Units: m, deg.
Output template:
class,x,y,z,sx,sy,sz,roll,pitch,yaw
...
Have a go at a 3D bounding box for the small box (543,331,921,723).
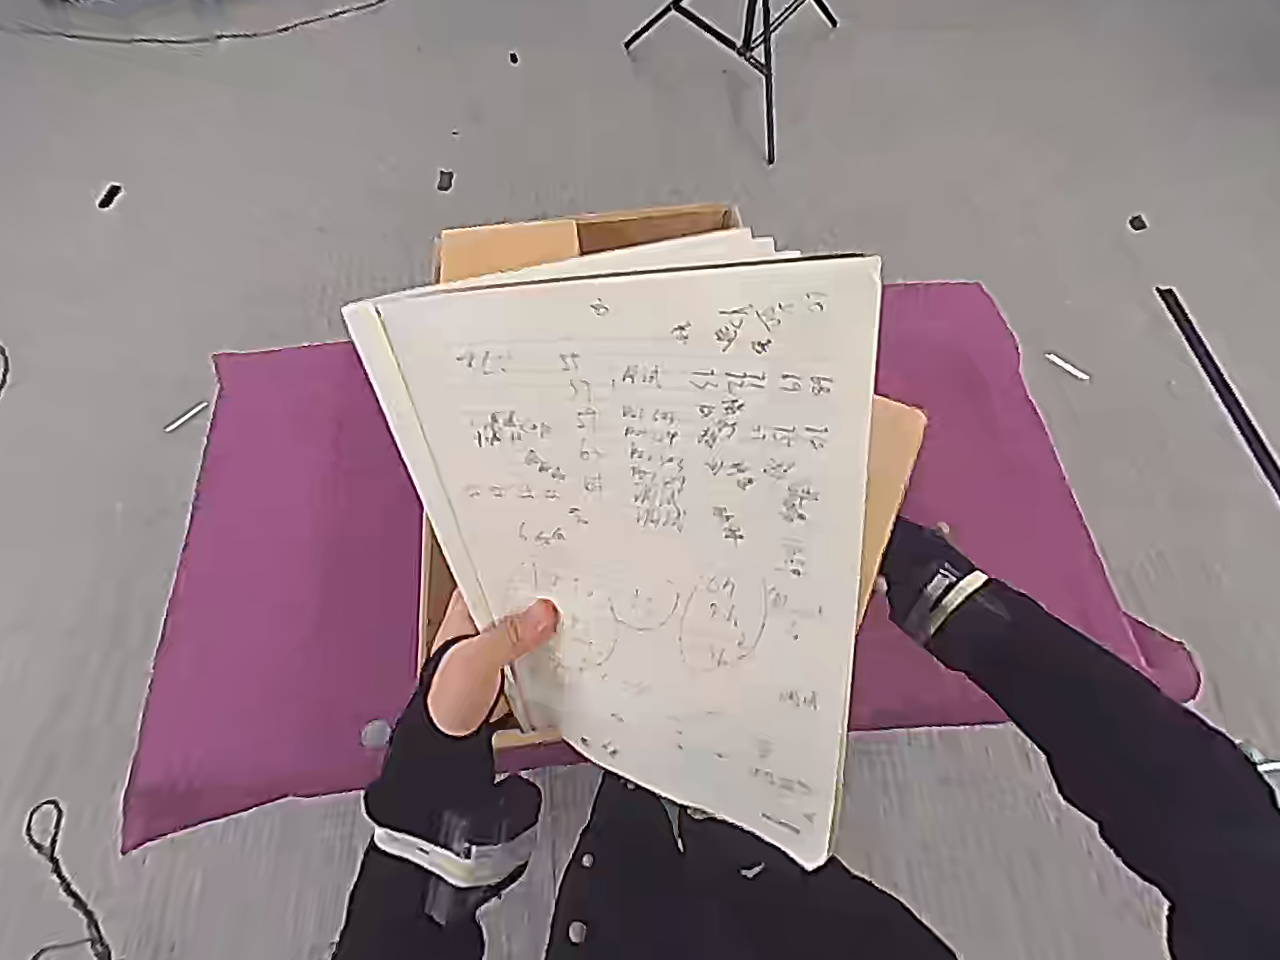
class,x,y,z,sx,sy,sz,roll,pitch,yaw
small box,0.062,0.035,0.369,0.168,0.176,0.179,22,56,18
